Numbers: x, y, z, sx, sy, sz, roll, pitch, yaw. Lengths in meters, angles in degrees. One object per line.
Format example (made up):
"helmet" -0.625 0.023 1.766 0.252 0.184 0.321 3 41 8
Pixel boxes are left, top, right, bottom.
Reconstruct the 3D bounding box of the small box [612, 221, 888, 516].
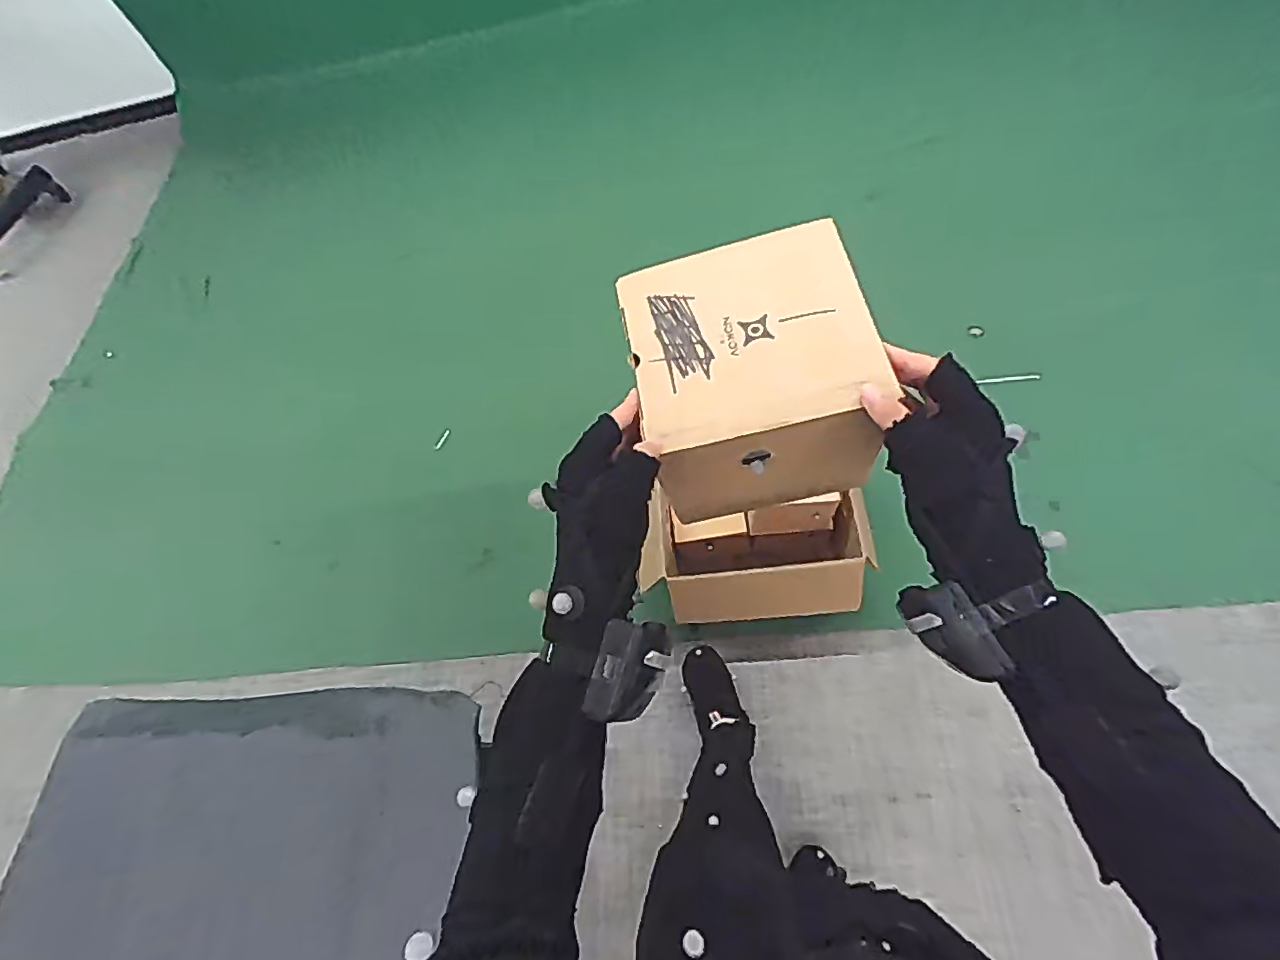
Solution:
"small box" 0.089 -0.080 0.472 0.179 0.176 0.168 -13 67 8
